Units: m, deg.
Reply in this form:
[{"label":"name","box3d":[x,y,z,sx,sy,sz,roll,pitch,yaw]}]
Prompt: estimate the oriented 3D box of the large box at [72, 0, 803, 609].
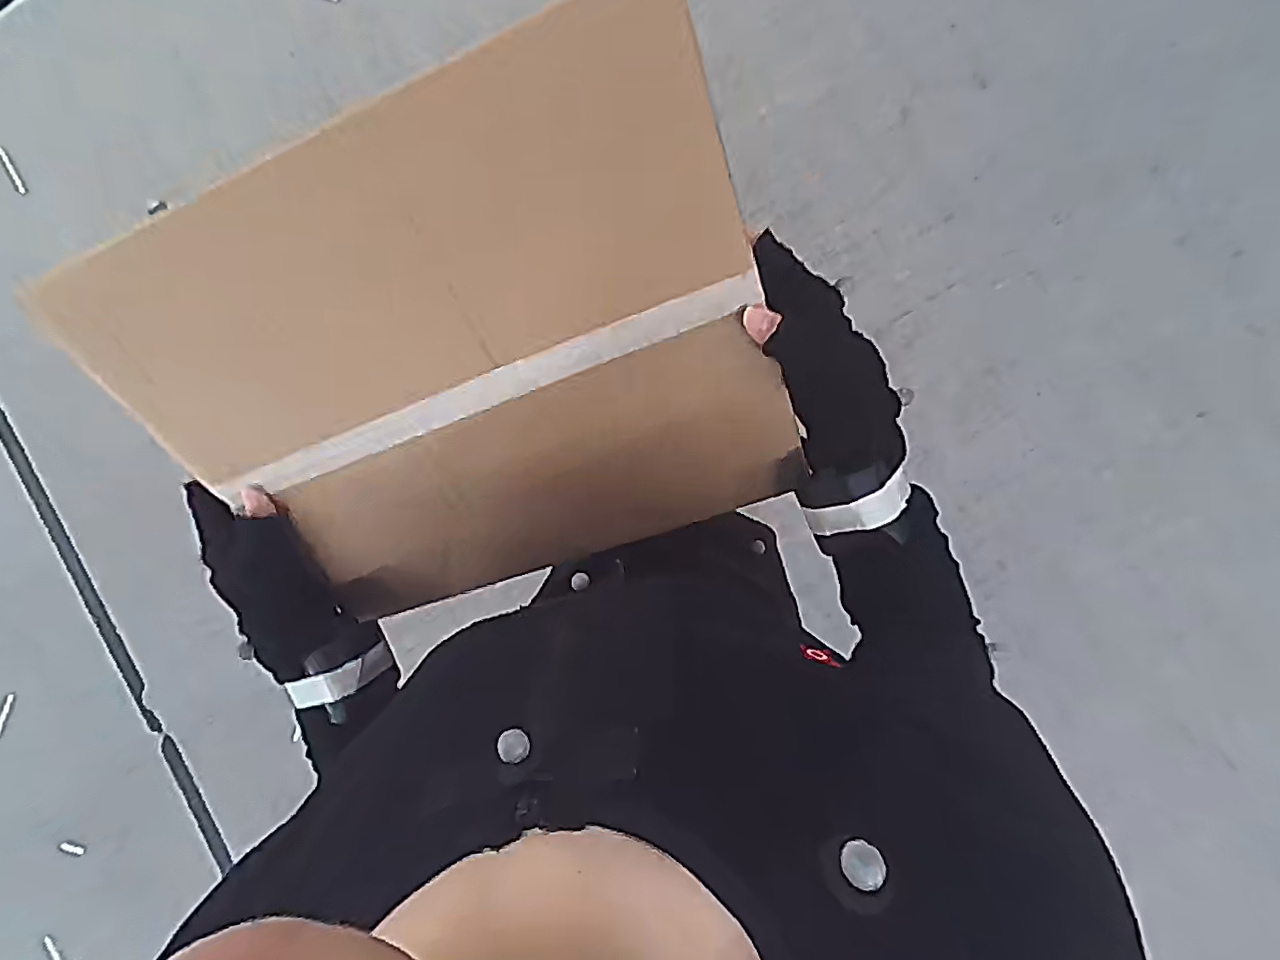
[{"label":"large box","box3d":[-0.117,-0.144,0.493,0.408,0.320,0.320,-19,125,11]}]
